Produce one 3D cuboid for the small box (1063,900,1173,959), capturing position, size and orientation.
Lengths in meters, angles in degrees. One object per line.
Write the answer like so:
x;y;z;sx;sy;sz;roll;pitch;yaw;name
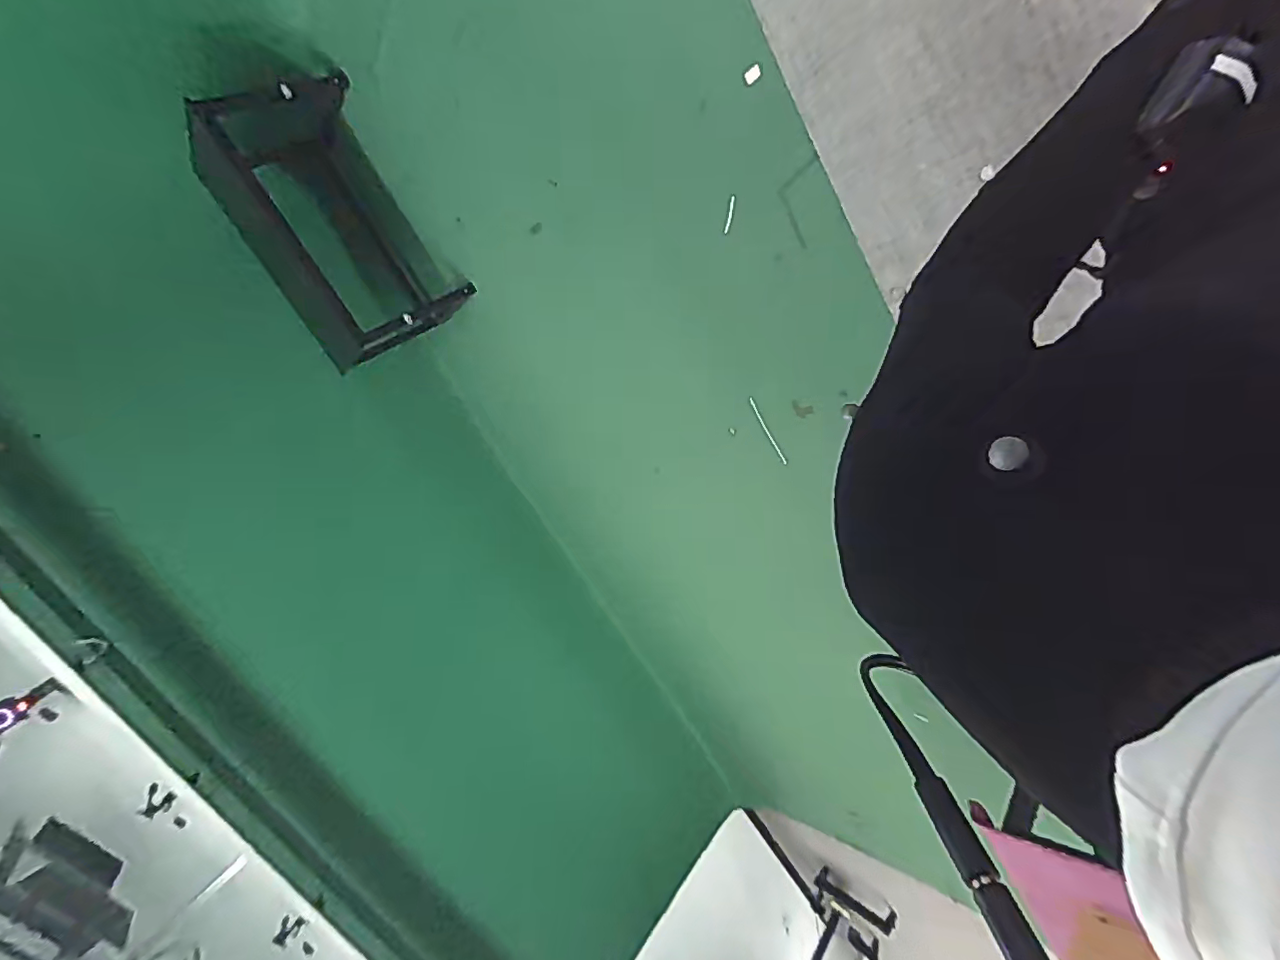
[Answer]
1.162;1.175;1.298;0.179;0.176;0.168;55;147;-12;small box
